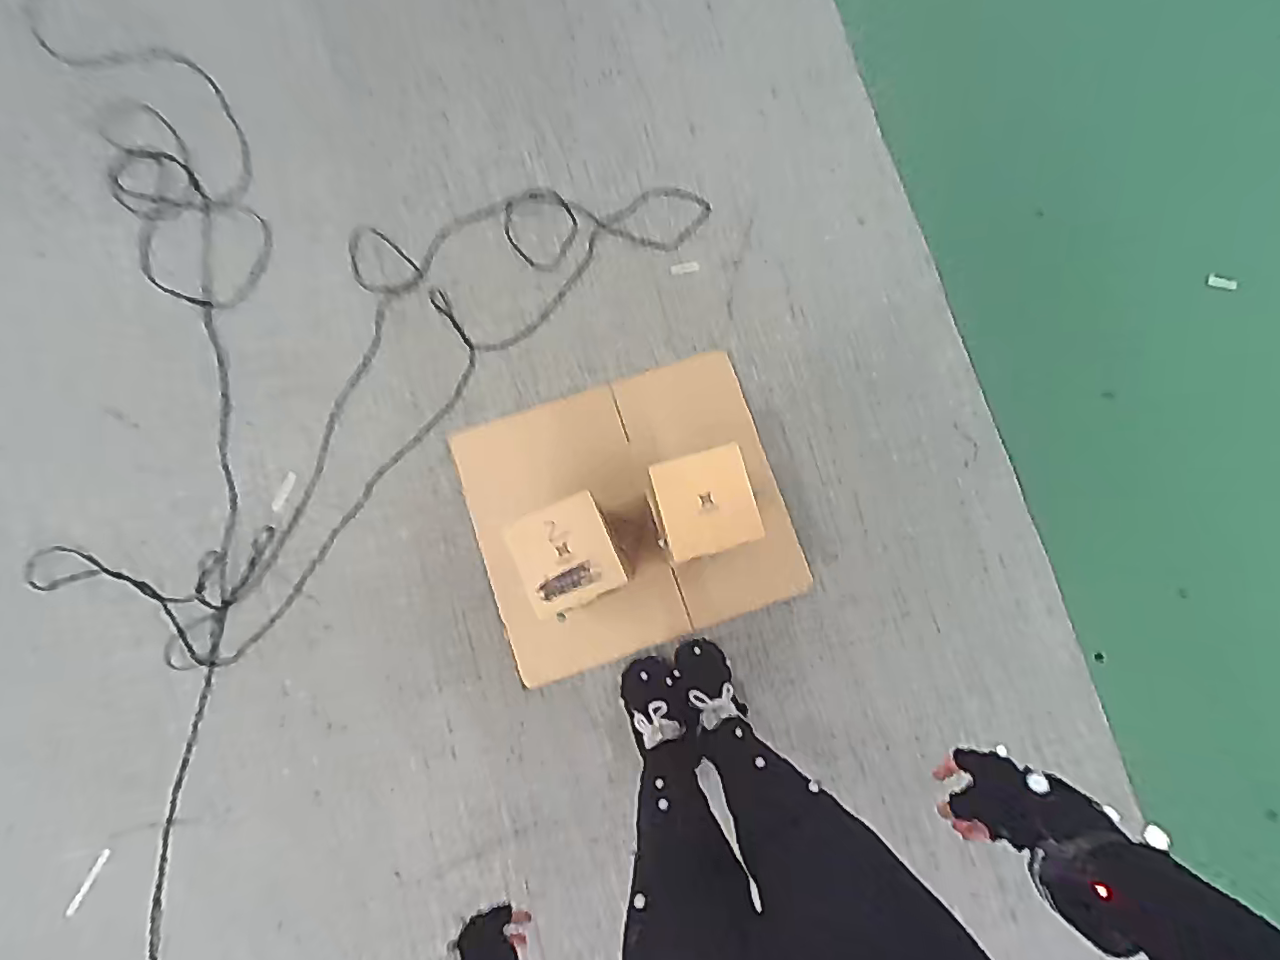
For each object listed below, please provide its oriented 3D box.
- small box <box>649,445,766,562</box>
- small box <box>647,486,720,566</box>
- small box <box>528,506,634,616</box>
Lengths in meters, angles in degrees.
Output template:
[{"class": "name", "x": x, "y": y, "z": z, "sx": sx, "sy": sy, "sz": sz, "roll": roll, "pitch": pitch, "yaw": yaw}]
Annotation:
[{"class": "small box", "x": 0.117, "y": 0.051, "z": 1.013, "sx": 0.168, "sy": 0.176, "sz": 0.179, "roll": -16, "pitch": 83, "yaw": -2}, {"class": "small box", "x": 0.117, "y": 0.080, "z": 1.173, "sx": 0.168, "sy": 0.176, "sz": 0.179, "roll": -19, "pitch": 83, "yaw": -1}, {"class": "small box", "x": -0.117, "y": 0.169, "z": 1.156, "sx": 0.168, "sy": 0.176, "sz": 0.179, "roll": -23, "pitch": 83, "yaw": -3}]
